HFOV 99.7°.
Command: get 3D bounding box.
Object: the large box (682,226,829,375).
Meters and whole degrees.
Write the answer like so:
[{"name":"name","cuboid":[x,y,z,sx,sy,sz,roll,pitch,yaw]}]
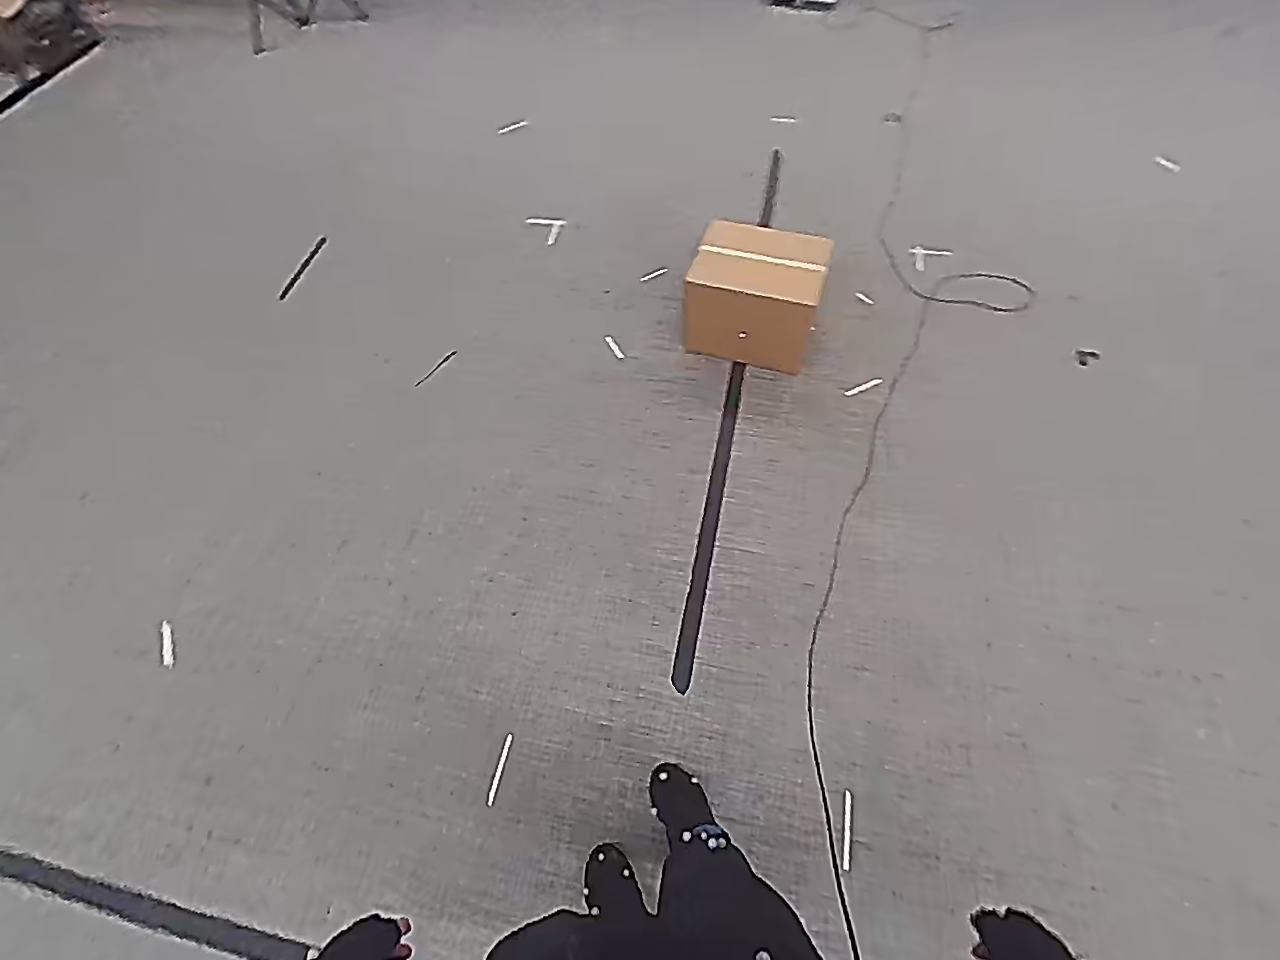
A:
[{"name":"large box","cuboid":[0.374,-0.599,1.820,0.408,0.320,0.320,16,63,12]}]
